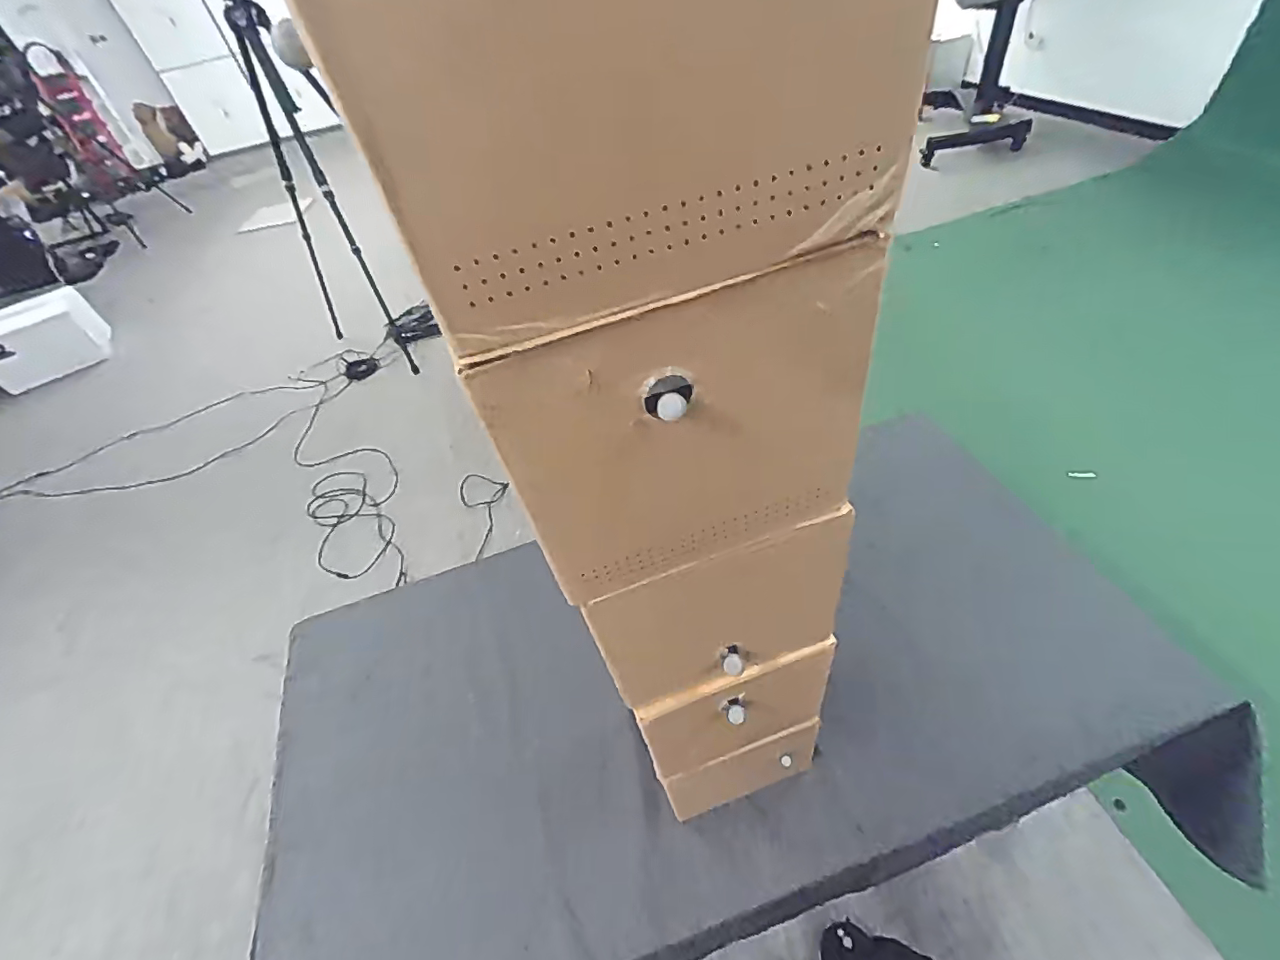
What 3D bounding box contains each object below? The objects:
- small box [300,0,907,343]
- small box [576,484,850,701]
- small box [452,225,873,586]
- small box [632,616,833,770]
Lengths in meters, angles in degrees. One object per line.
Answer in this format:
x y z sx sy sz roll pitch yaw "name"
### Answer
-0.019 -0.176 0.200 0.179 0.176 0.168 -18 47 -4 "small box"
0.037 0.047 0.435 0.179 0.176 0.168 -18 46 -5 "small box"
0.004 -0.065 0.318 0.179 0.176 0.168 -19 47 -6 "small box"
0.067 0.161 0.548 0.179 0.176 0.168 -20 46 -6 "small box"
